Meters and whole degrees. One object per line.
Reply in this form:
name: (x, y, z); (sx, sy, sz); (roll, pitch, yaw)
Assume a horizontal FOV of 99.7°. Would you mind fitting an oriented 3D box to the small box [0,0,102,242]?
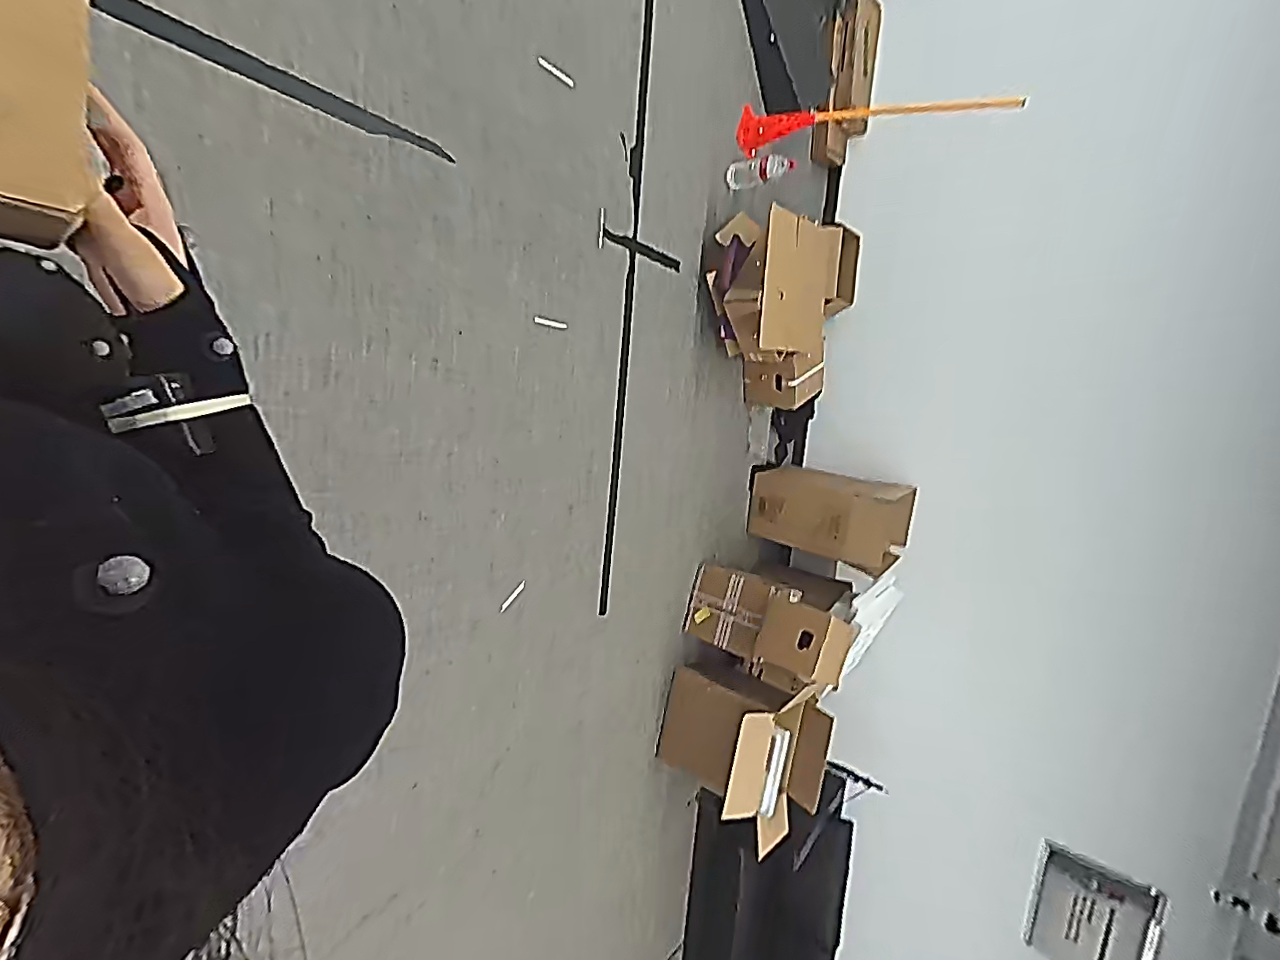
small box: (-0.386, -0.231, 0.261); (0.168, 0.176, 0.179); (0, 101, -51)
